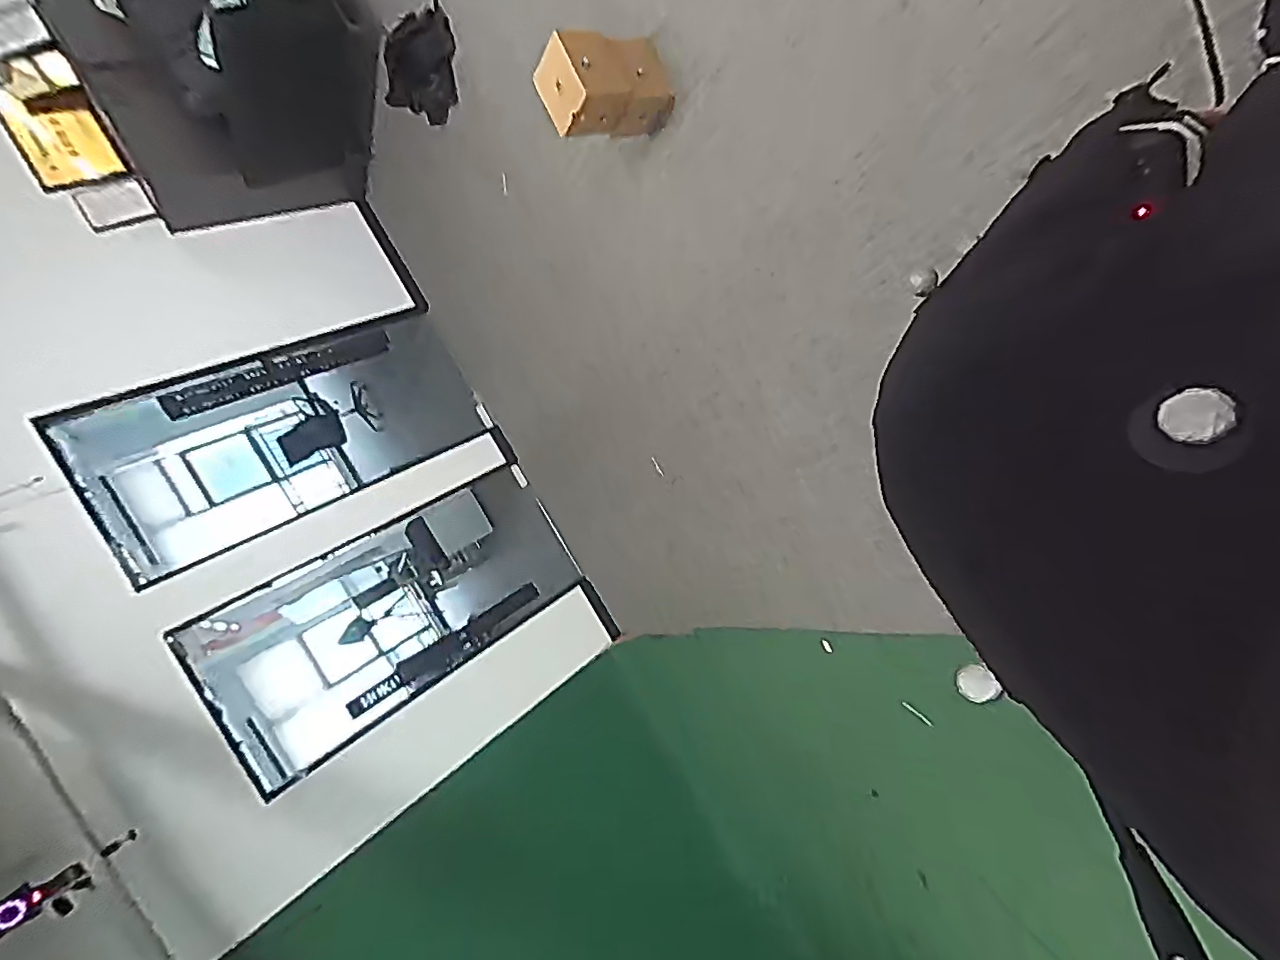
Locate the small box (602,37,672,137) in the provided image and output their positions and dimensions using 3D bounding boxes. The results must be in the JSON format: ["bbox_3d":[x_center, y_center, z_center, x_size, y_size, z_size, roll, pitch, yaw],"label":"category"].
[{"bbox_3d":[-0.039,-1.143,1.571,0.168,0.176,0.179,-19,101,58],"label":"small box"}]

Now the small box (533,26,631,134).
[{"bbox_3d":[-0.157,-1.085,1.473,0.168,0.176,0.179,-19,101,57],"label":"small box"}]
